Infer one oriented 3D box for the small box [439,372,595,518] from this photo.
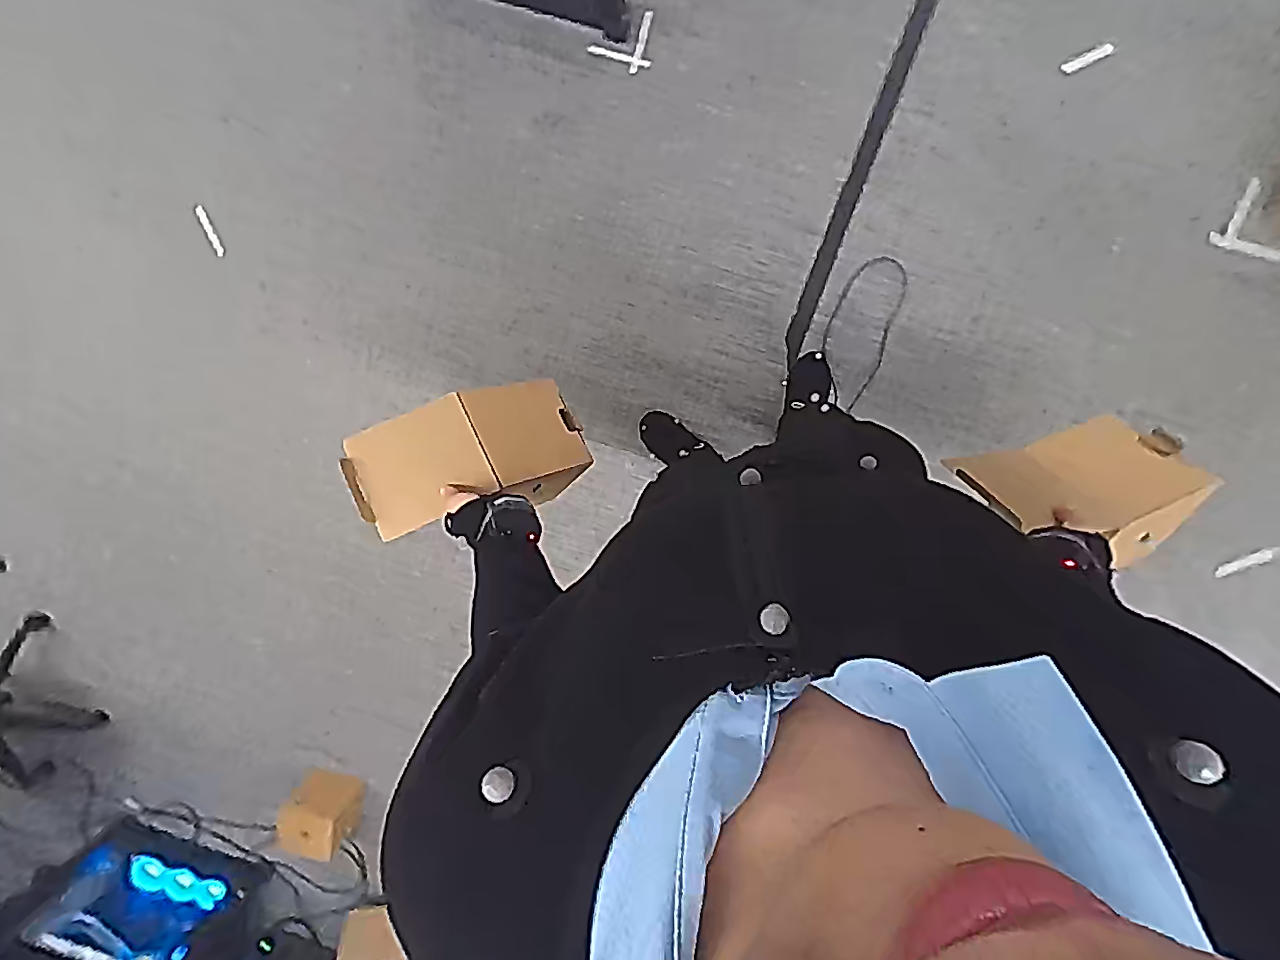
[{"bbox_3d":[-0.209,-0.054,0.880,0.176,0.179,0.168,-35,77,48],"label":"small box"}]
